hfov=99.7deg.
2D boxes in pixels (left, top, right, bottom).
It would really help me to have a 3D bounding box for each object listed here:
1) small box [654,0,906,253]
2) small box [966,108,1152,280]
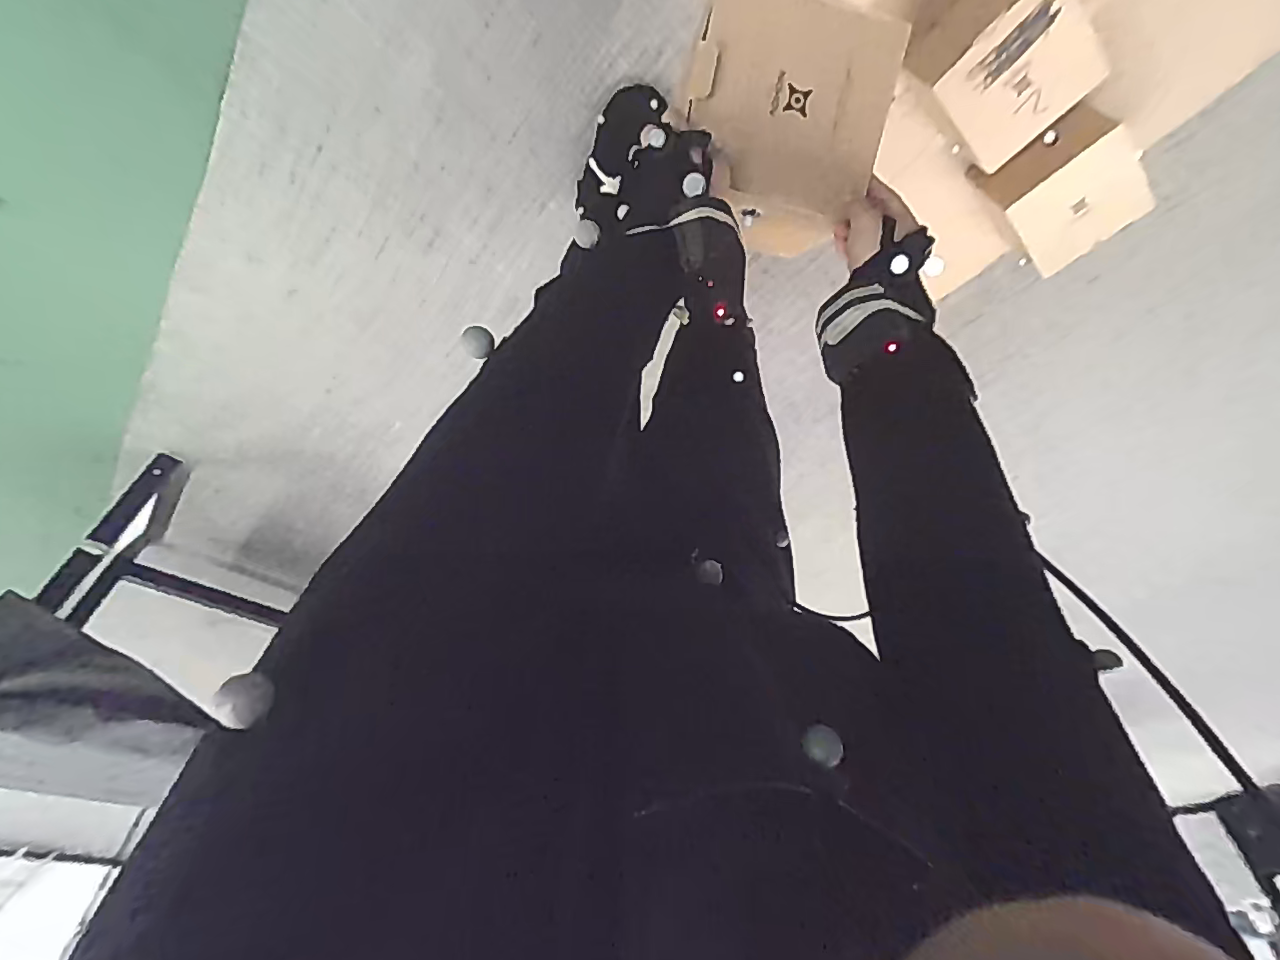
[{"bbox_3d":[0.119,-0.341,0.539,0.179,0.176,0.168,10,101,-9],"label":"small box"},{"bbox_3d":[0.690,-0.483,0.908,0.179,0.176,0.168,31,129,-29],"label":"small box"}]
